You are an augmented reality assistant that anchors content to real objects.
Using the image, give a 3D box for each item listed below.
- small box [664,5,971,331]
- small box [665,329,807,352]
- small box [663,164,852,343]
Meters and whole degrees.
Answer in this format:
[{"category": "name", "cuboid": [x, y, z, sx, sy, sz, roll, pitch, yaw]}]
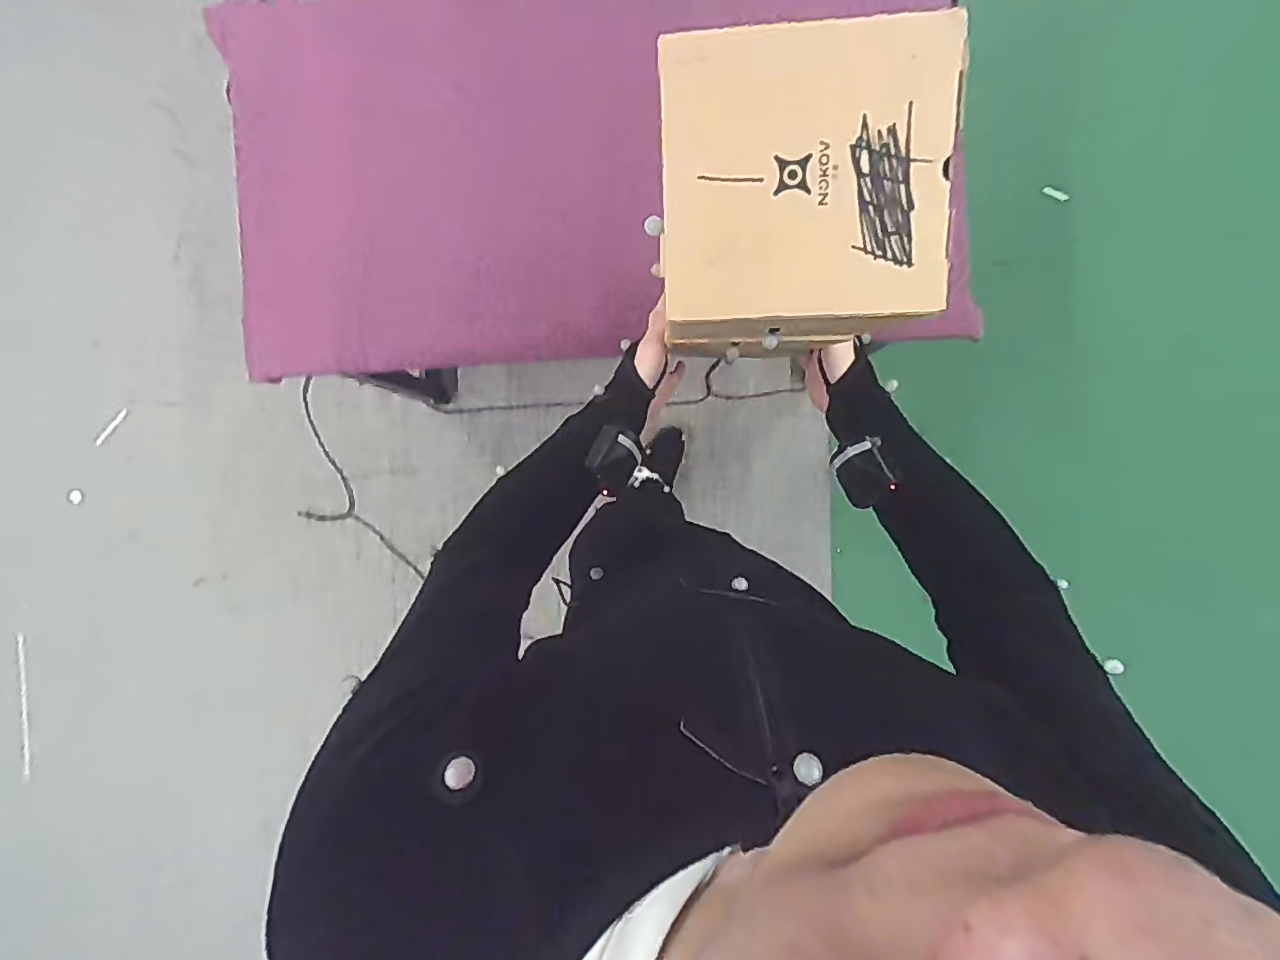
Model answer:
[{"category": "small box", "cuboid": [0.107, -0.203, 0.403, 0.179, 0.176, 0.168, -1, 101, 5]}, {"category": "small box", "cuboid": [0.126, -0.261, 0.725, 0.179, 0.176, 0.168, 2, 101, 3]}, {"category": "small box", "cuboid": [0.116, -0.232, 0.565, 0.179, 0.176, 0.168, 0, 102, 5]}]
